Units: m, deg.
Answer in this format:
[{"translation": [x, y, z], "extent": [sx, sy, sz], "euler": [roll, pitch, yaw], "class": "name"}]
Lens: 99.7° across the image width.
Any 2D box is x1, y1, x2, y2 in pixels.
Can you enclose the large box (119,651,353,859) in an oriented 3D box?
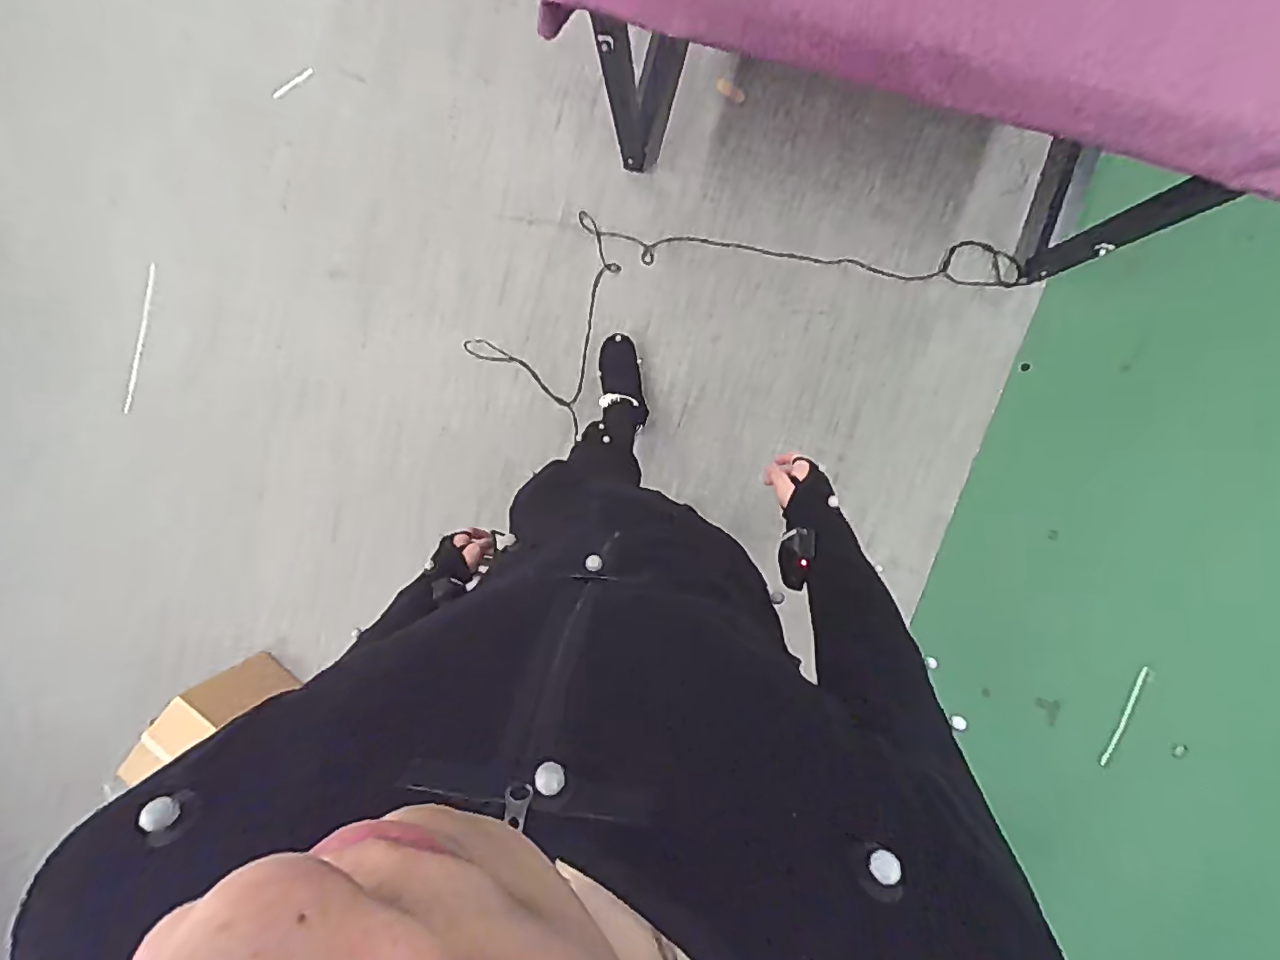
[{"translation": [-1.188, 0.802, 1.630], "extent": [0.408, 0.320, 0.320], "euler": [41, 98, -2], "class": "large box"}]
